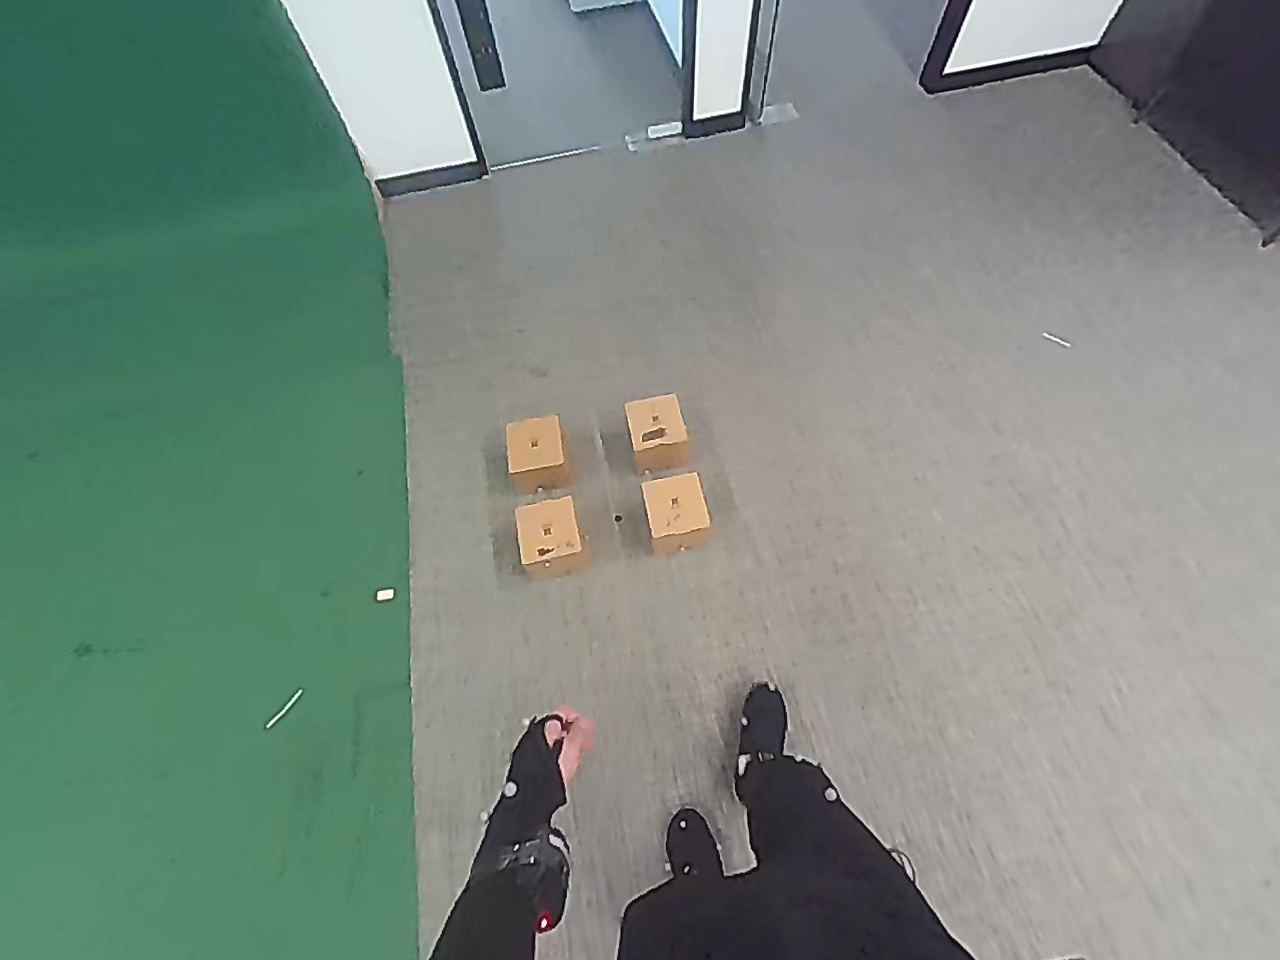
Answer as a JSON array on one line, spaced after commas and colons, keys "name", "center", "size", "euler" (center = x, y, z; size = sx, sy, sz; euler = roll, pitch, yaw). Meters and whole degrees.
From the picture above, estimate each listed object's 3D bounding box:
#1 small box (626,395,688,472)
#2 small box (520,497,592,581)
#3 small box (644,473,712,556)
[{"name": "small box", "center": [0.056, -0.139, 1.709], "size": [0.168, 0.176, 0.179], "euler": [-11, 63, -2]}, {"name": "small box", "center": [-0.242, 0.175, 1.573], "size": [0.168, 0.176, 0.179], "euler": [-13, 62, -2]}, {"name": "small box", "center": [0.109, 0.104, 1.586], "size": [0.168, 0.176, 0.179], "euler": [-11, 63, -2]}]
